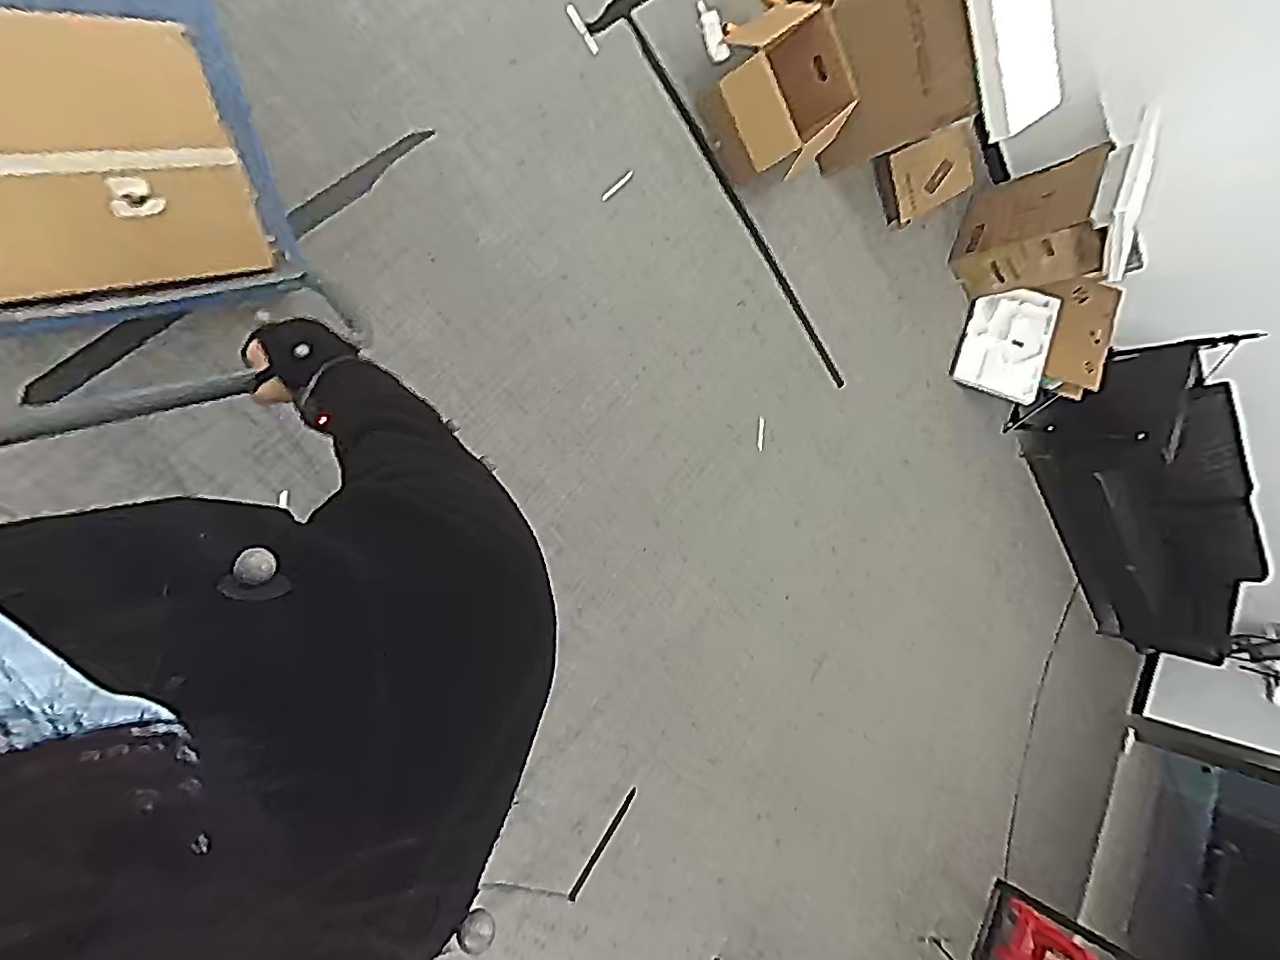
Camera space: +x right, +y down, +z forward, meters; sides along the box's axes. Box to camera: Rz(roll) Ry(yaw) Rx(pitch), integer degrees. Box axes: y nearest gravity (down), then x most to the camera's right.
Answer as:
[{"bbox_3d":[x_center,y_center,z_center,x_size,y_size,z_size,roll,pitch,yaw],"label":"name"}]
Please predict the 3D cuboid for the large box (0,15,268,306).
[{"bbox_3d":[-0.867,-0.460,0.812,0.408,0.320,0.320,-26,125,-32],"label":"large box"}]
